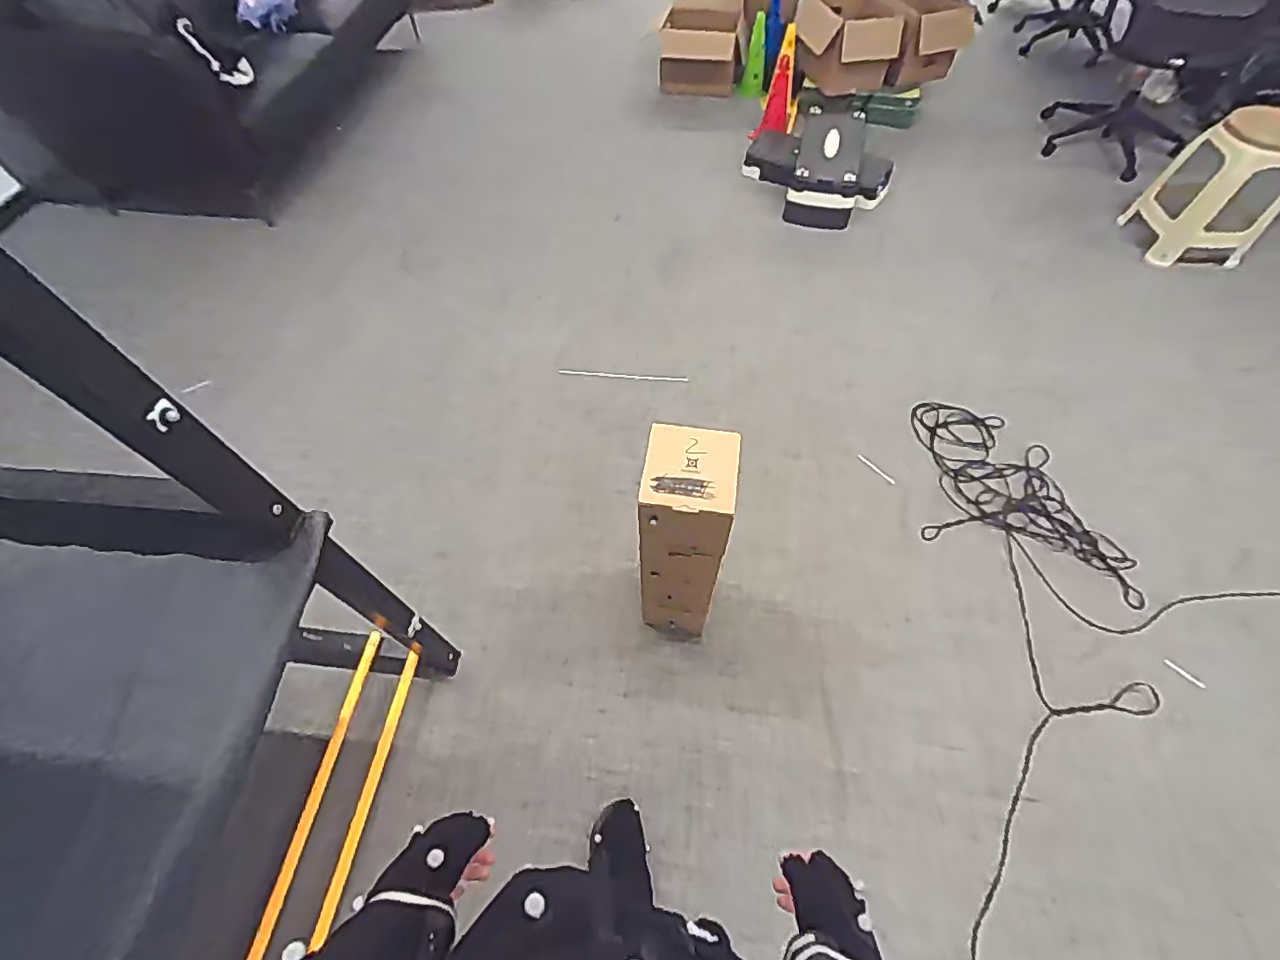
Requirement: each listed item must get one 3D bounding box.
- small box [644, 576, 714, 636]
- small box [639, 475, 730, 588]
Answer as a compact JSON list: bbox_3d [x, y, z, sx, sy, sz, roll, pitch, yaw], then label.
[{"bbox_3d":[0.108,0.293,1.435,0.168,0.176,0.179,10,58,9],"label":"small box"},{"bbox_3d":[0.096,0.116,1.162,0.168,0.176,0.179,8,58,7],"label":"small box"}]
